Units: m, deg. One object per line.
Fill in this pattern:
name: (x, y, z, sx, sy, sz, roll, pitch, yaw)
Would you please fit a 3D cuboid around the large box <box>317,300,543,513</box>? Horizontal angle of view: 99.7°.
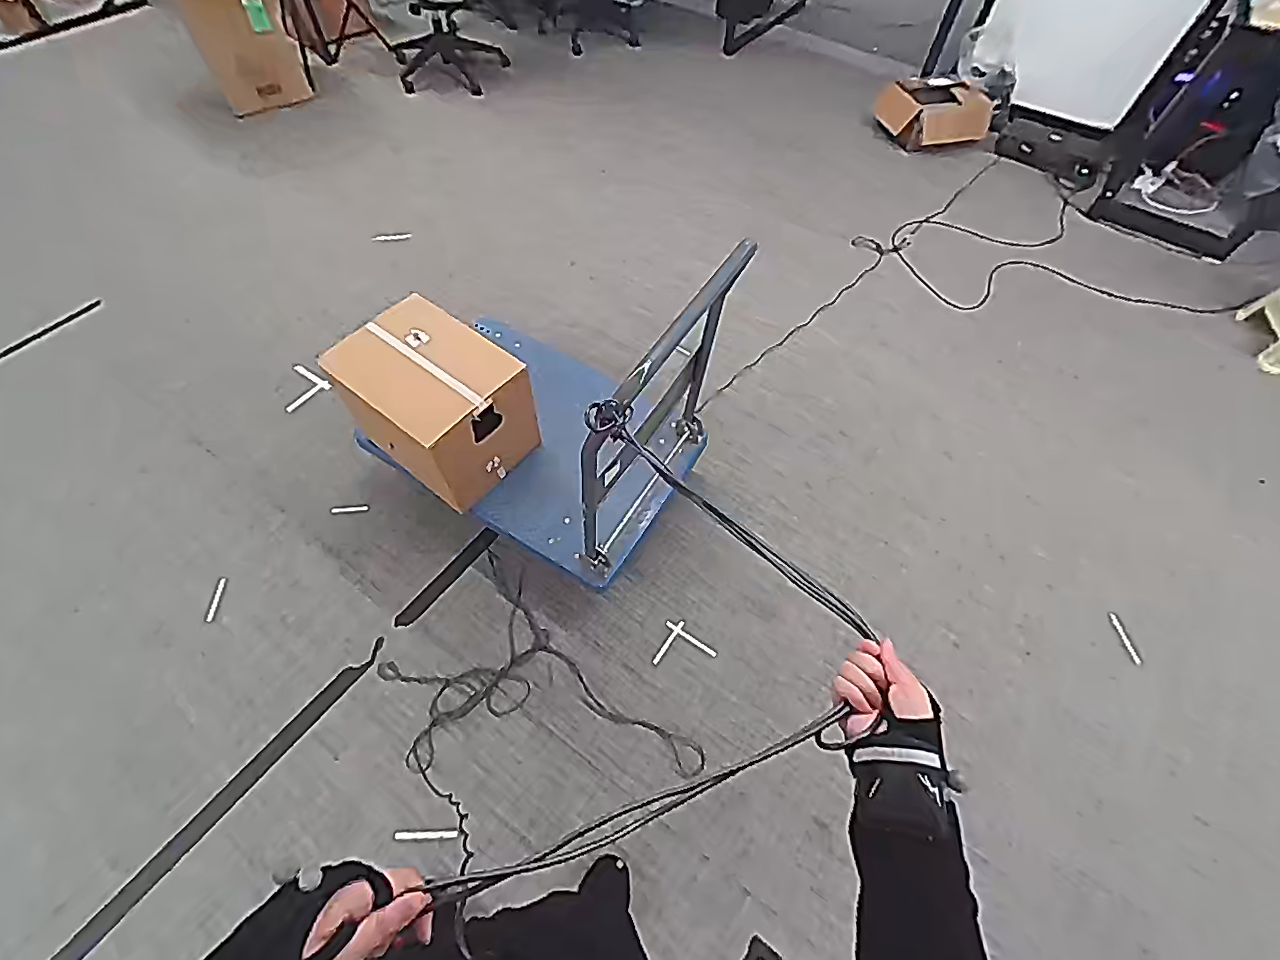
large box: (-0.517, -0.187, 1.406, 0.408, 0.320, 0.320, 34, 63, 18)
